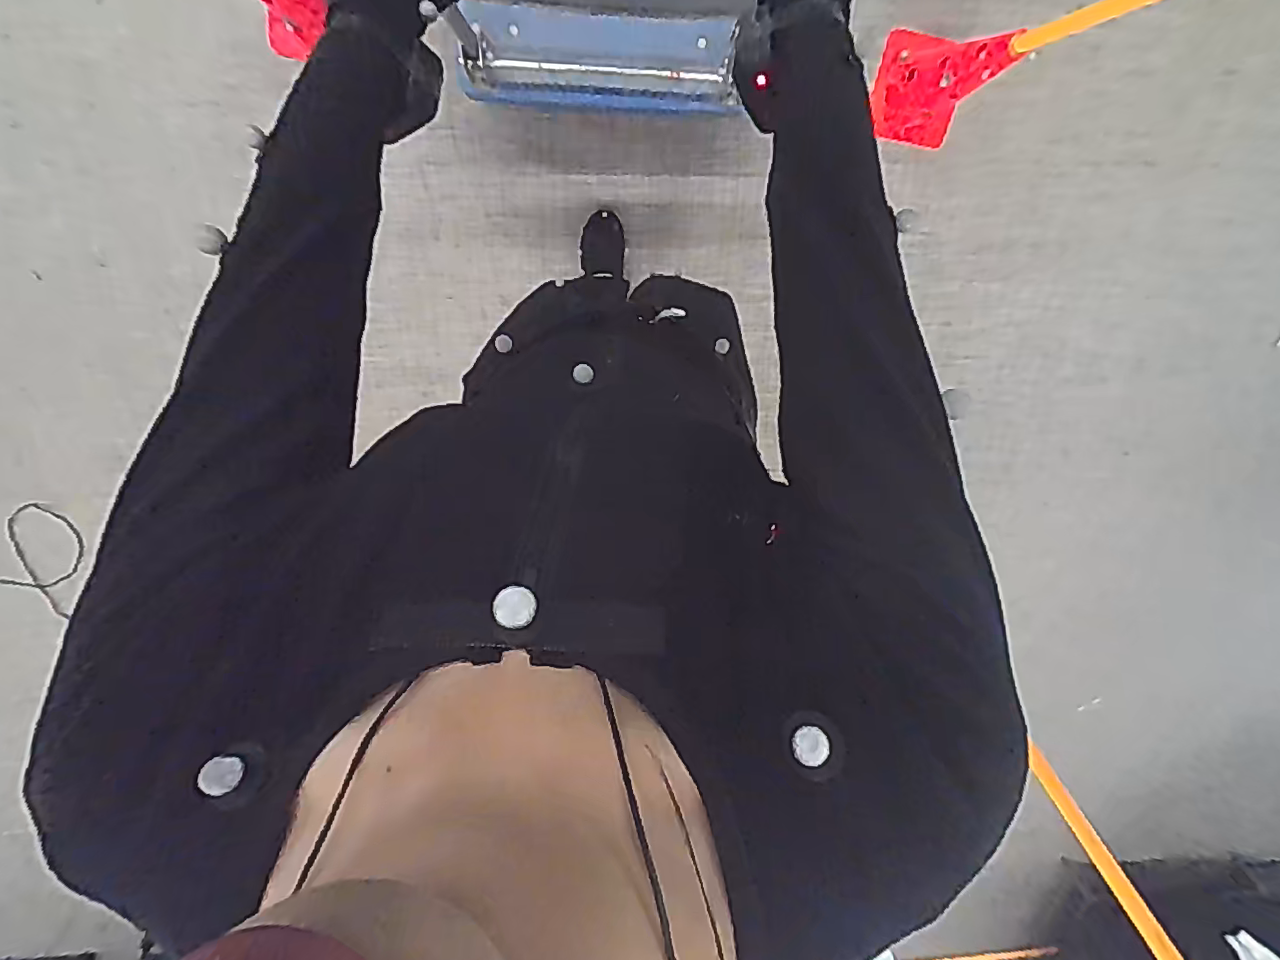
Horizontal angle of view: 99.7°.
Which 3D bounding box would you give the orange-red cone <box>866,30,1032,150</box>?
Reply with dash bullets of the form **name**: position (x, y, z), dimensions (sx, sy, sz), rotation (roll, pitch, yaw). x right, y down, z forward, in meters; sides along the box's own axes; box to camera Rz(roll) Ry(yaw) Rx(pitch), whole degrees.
- **orange-red cone**: position (0.624, -0.788, 1.047), dimensions (0.198, 0.360, 0.199), rotation (10, 115, -5)
